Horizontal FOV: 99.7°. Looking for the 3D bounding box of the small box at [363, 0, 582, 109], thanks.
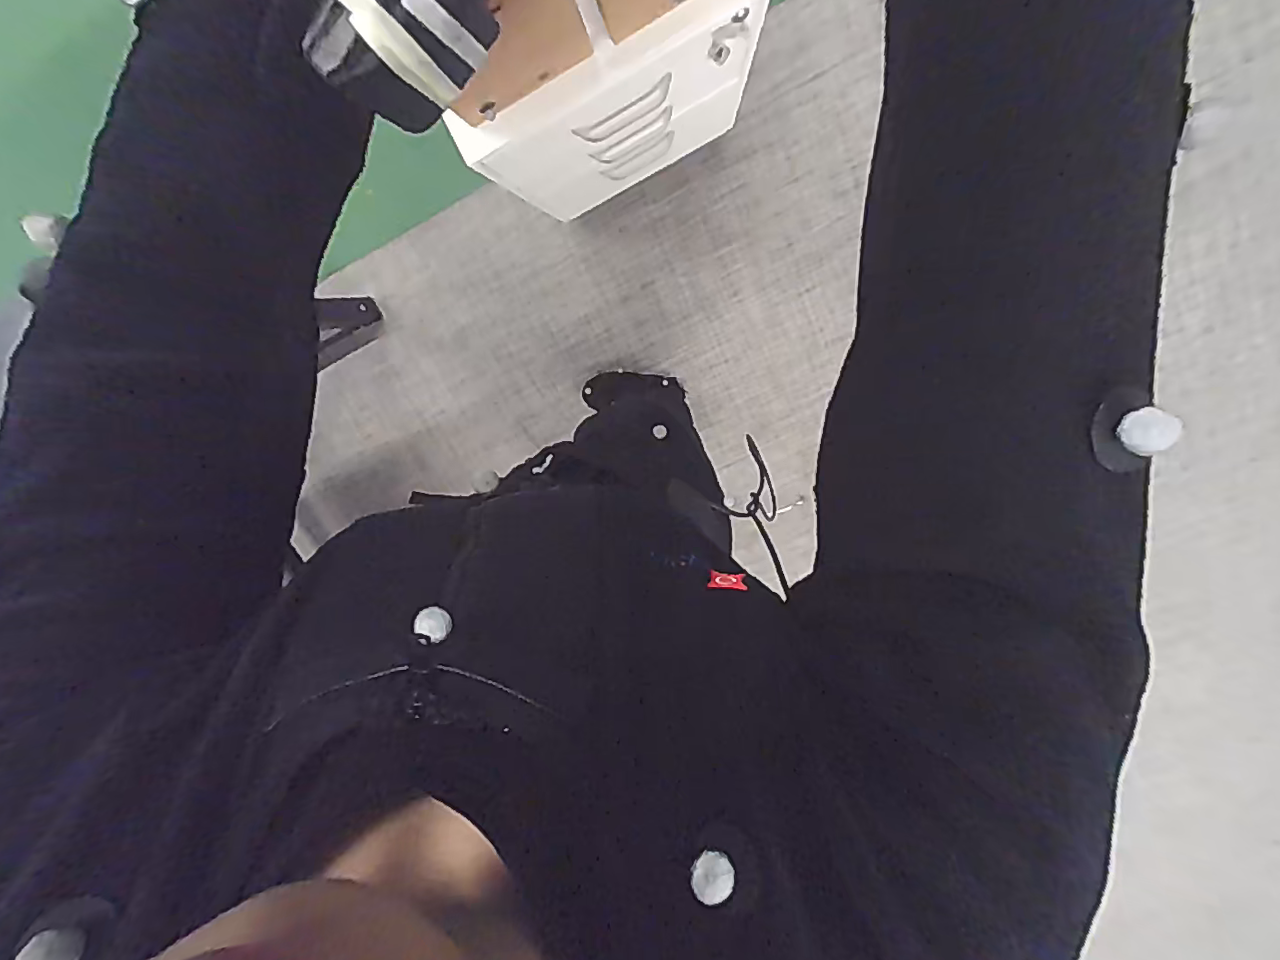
[{"bbox_3d":[-0.171,-0.493,0.517,0.168,0.176,0.179,-23,105,10],"label":"small box"}]
